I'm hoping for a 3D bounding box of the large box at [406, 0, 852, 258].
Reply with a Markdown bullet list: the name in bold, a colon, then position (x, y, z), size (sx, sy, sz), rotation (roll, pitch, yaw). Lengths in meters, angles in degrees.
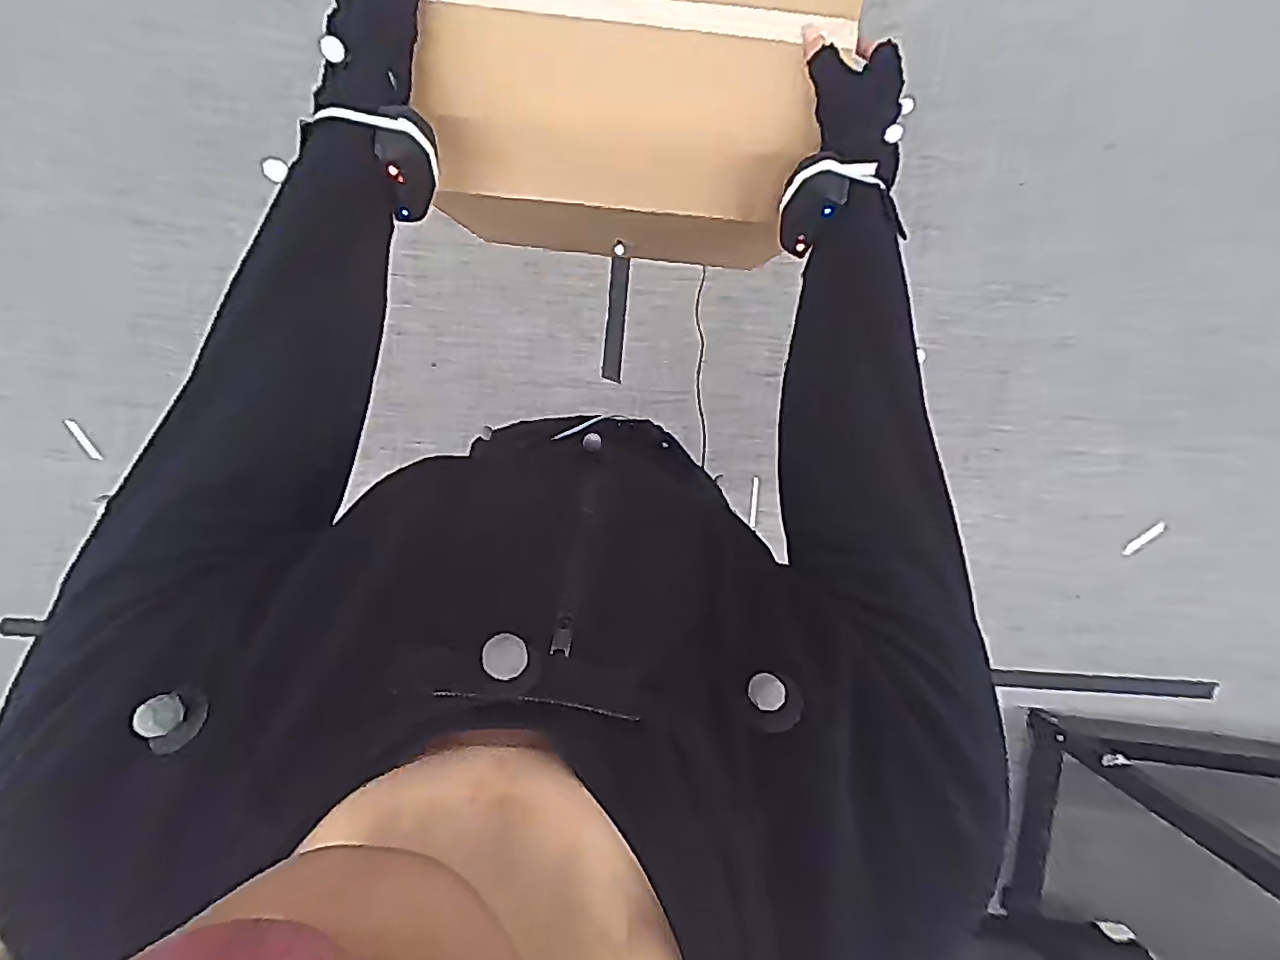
- **large box**: position (-0.011, -0.452, 0.628), size (0.408, 0.320, 0.320), rotation (5, 104, -3)
